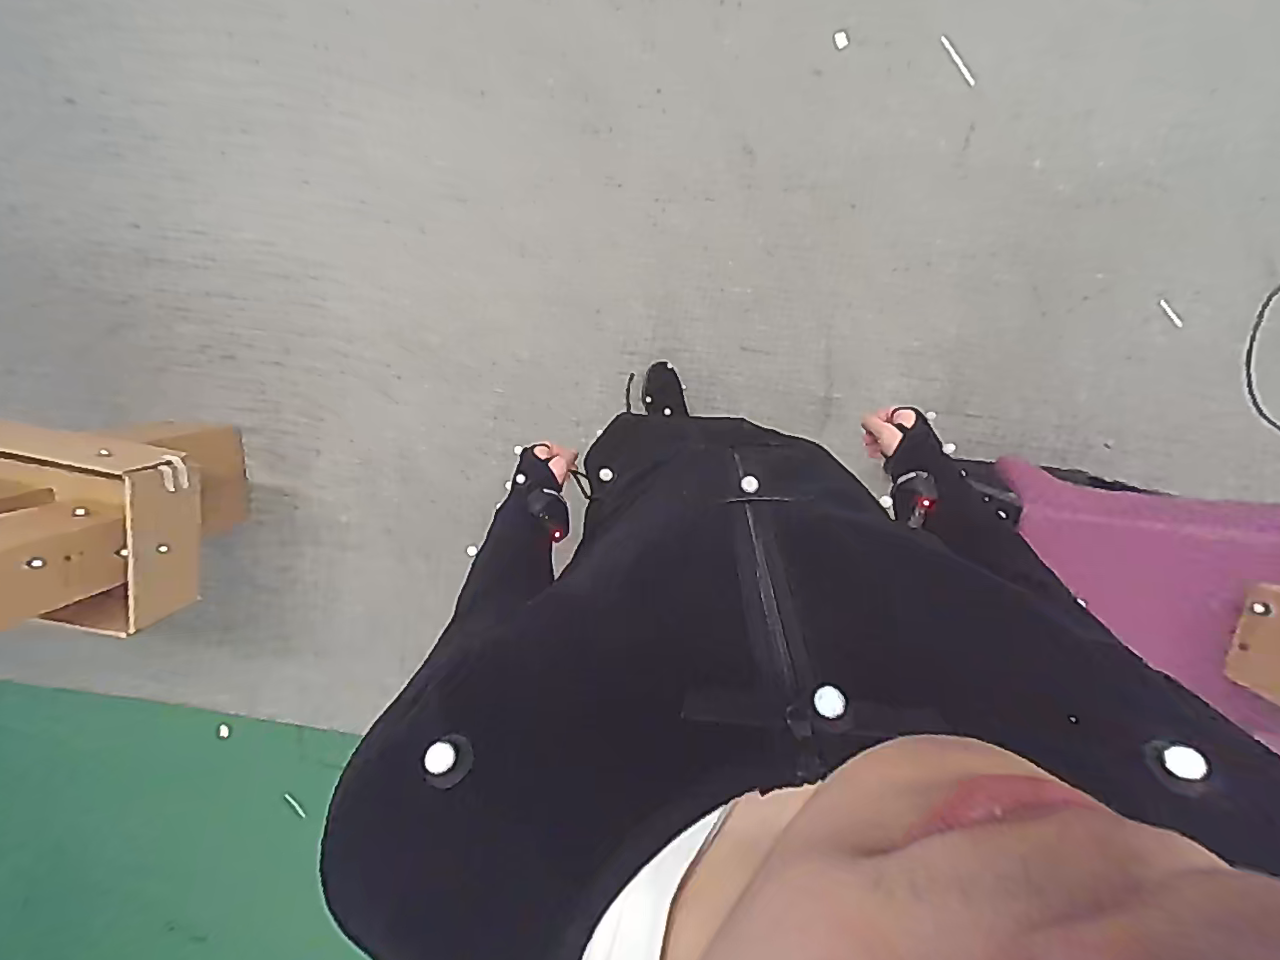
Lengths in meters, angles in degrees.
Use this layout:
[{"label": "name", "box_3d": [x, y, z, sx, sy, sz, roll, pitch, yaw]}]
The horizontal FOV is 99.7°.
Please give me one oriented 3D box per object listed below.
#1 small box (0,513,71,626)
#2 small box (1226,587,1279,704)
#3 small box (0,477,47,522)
[{"label": "small box", "box_3d": [-1.283, 0.173, 1.064, 0.179, 0.176, 0.168, 11, 101, 2]}, {"label": "small box", "box_3d": [1.055, 0.270, 0.804, 0.179, 0.176, 0.168, 5, 102, 2]}, {"label": "small box", "box_3d": [-1.524, 0.091, 1.230, 0.179, 0.176, 0.168, 10, 102, 0]}]
